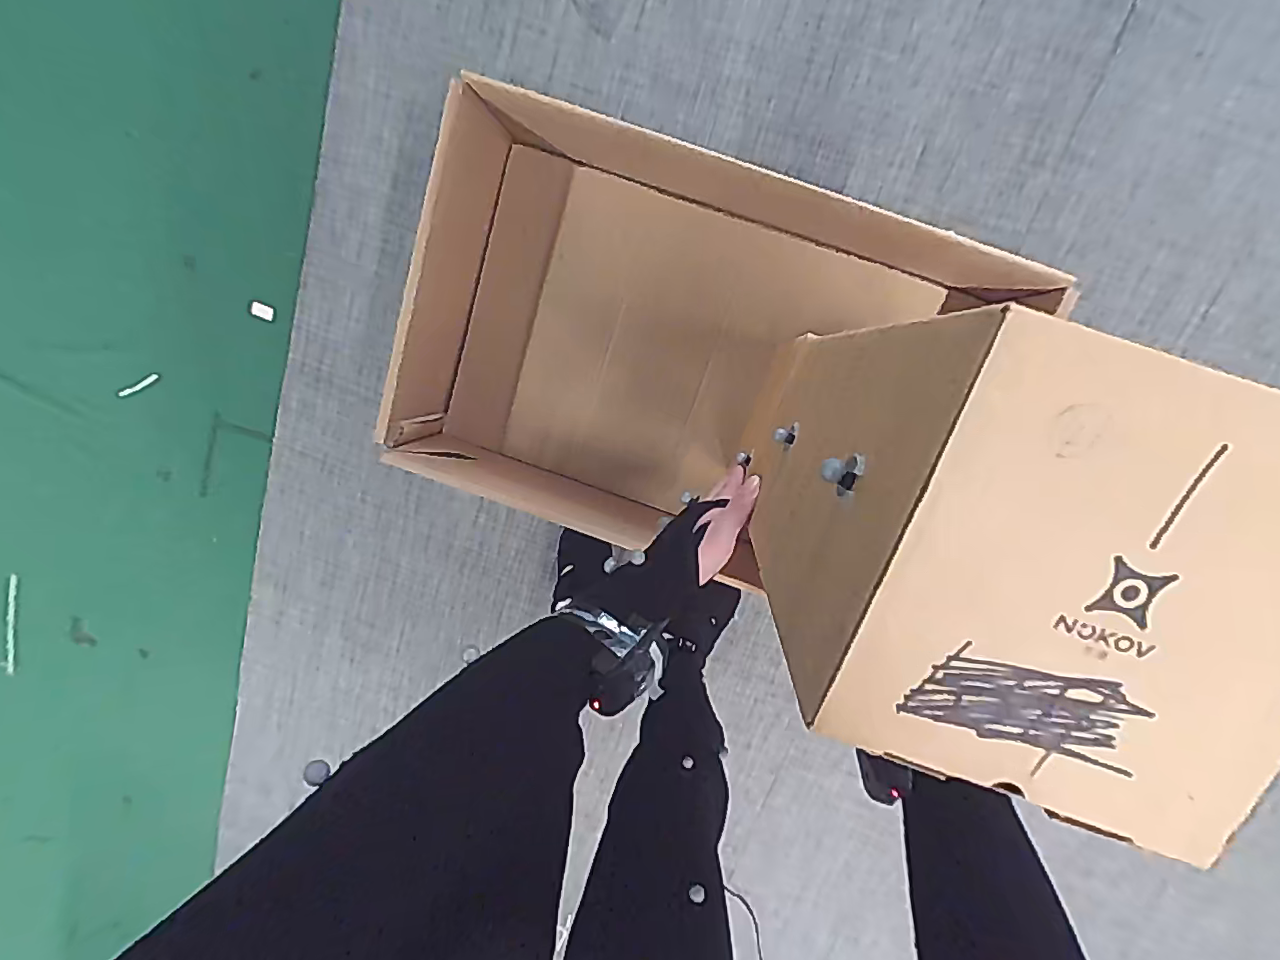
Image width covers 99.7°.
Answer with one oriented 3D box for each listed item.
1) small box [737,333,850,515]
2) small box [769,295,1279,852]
[{"bbox_3d":[0.211,-0.046,0.592,0.168,0.176,0.179,20,103,3],"label":"small box"},{"bbox_3d":[0.175,0.027,0.276,0.168,0.176,0.179,19,103,1],"label":"small box"}]
